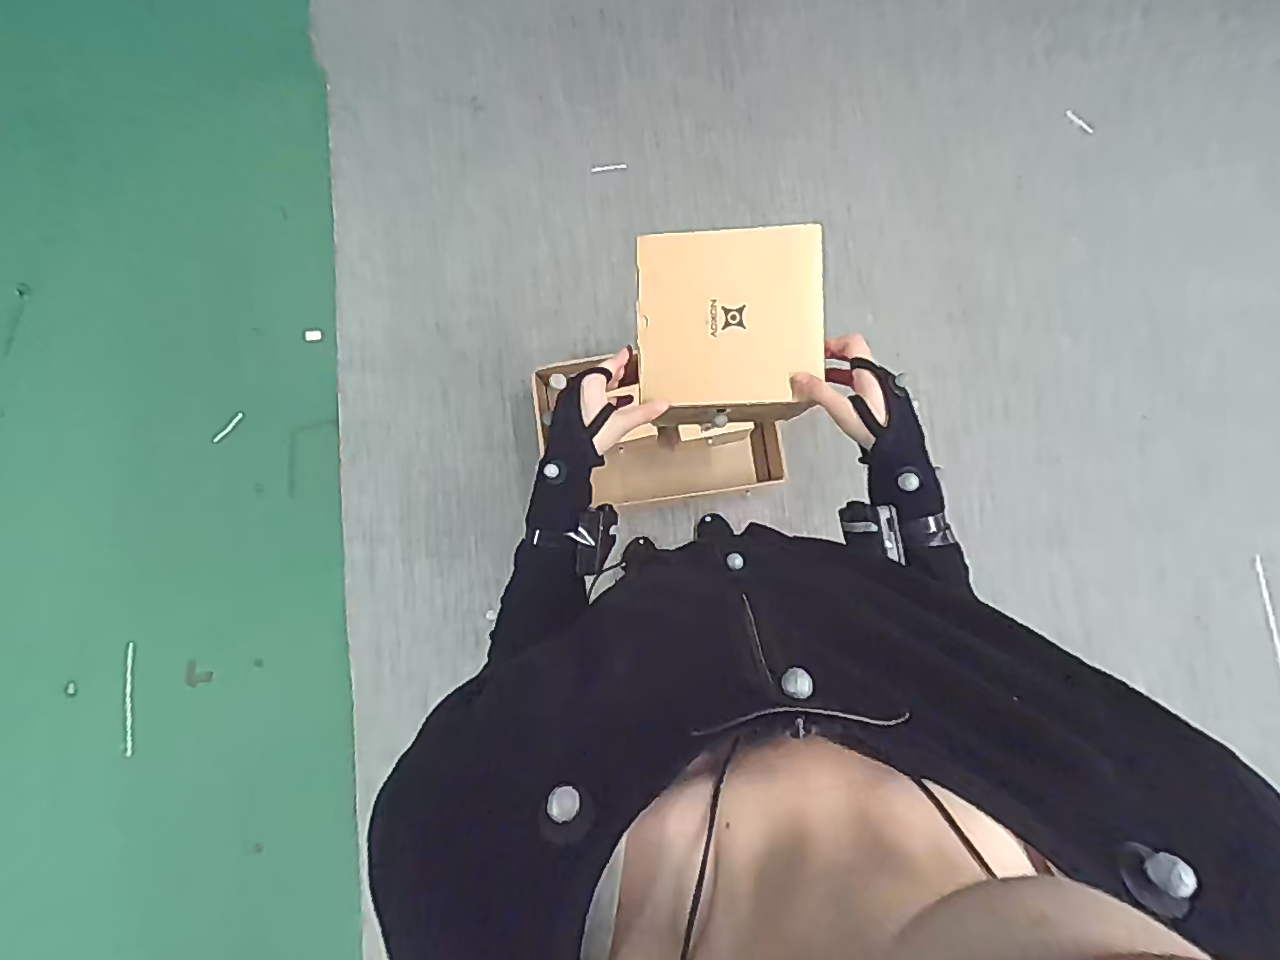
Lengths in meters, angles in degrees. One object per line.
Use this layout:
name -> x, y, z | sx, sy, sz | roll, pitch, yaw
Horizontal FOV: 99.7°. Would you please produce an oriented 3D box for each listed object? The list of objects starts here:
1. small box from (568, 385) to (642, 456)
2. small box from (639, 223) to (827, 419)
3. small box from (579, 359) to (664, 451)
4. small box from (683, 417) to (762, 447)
small box -> -0.083, -0.165, 1.447 | 0.179, 0.176, 0.168 | -11, 85, 0
small box -> 0.096, -0.157, 0.589 | 0.179, 0.176, 0.168 | -1, 90, 8
small box -> -0.039, -0.169, 1.282 | 0.168, 0.176, 0.179 | -12, 86, -1
small box -> 0.179, -0.185, 1.268 | 0.168, 0.176, 0.179 | -10, 84, 3
